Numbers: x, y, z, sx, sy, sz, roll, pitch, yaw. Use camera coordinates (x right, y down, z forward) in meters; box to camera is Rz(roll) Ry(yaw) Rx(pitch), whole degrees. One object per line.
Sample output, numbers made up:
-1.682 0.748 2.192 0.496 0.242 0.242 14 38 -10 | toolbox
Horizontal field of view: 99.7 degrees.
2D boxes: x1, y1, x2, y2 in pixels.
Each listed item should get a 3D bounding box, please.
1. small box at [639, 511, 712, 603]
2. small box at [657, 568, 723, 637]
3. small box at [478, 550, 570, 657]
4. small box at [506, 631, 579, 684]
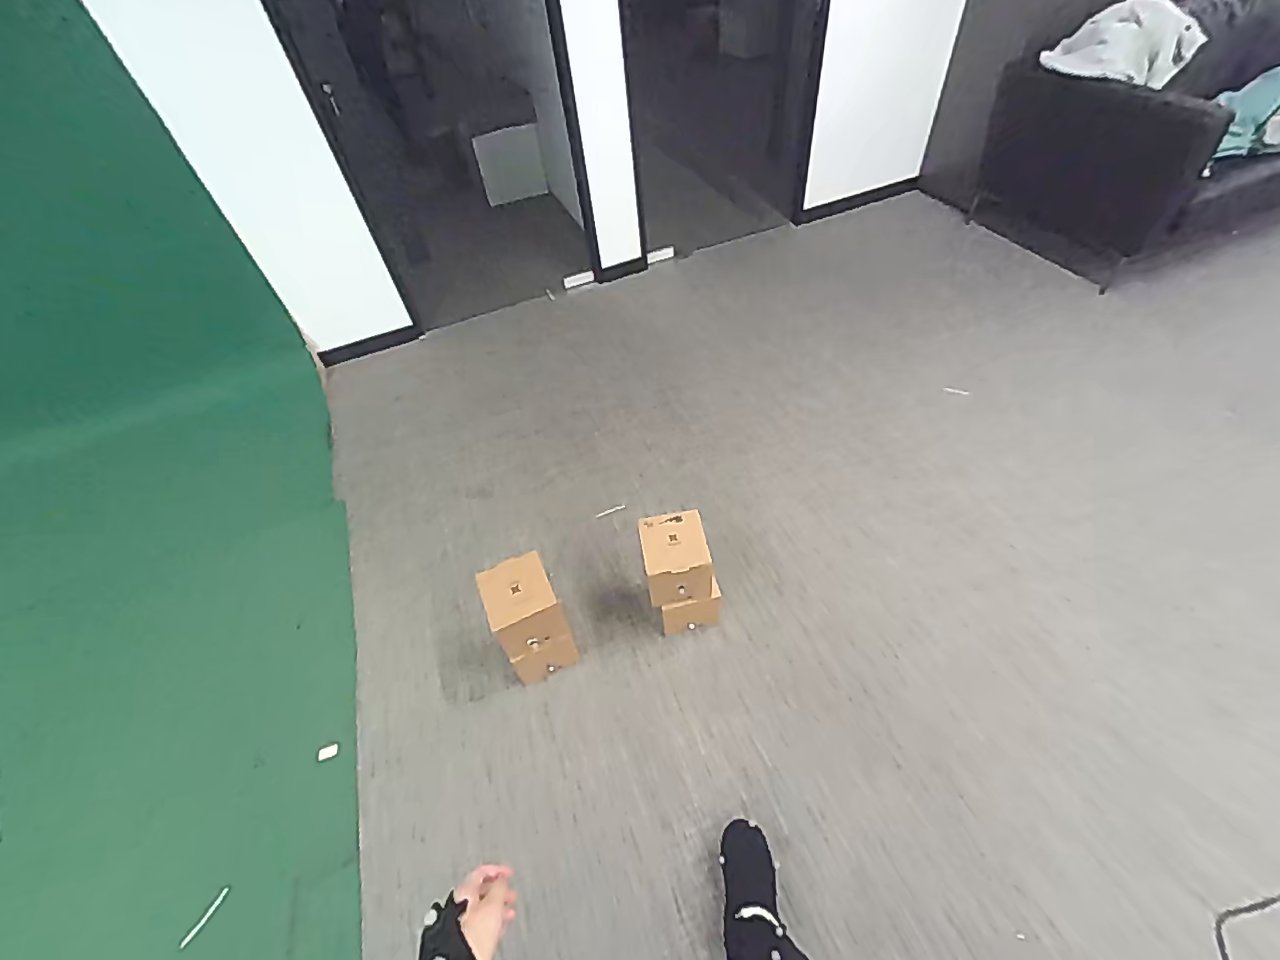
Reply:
0.094 0.210 1.421 0.168 0.176 0.179 -9 49 -1 | small box
0.130 0.319 1.539 0.168 0.176 0.179 -12 49 -4 | small box
-0.292 0.315 1.375 0.168 0.176 0.179 -23 51 -12 | small box
-0.282 0.426 1.492 0.168 0.176 0.179 -23 50 -13 | small box
